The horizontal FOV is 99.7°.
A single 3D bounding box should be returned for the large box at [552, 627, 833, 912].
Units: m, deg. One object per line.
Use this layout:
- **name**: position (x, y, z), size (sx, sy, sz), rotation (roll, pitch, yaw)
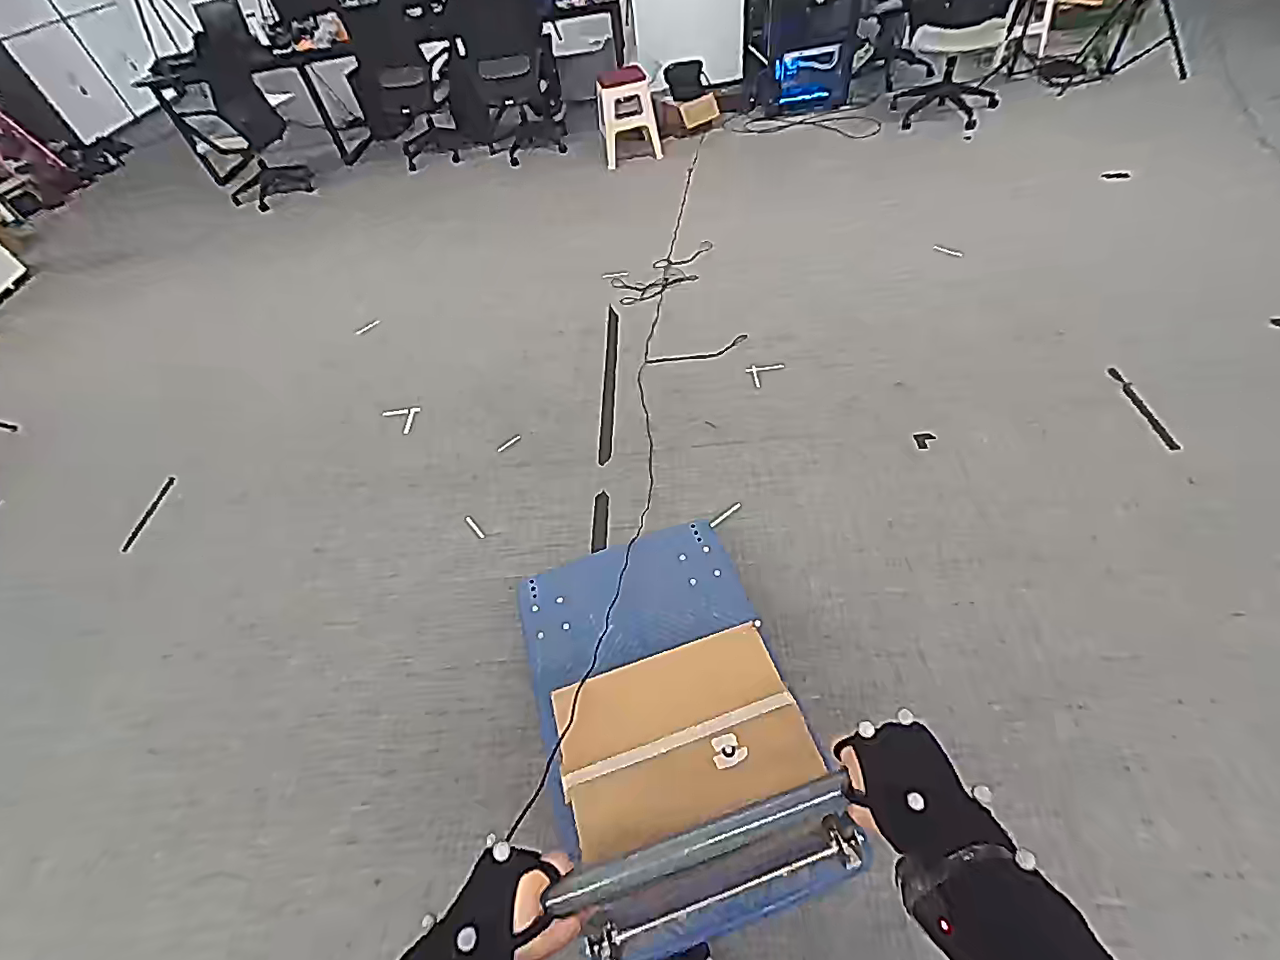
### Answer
- **large box**: position (0.087, 0.543, 1.018), size (0.408, 0.320, 0.320), rotation (-17, 48, -6)
